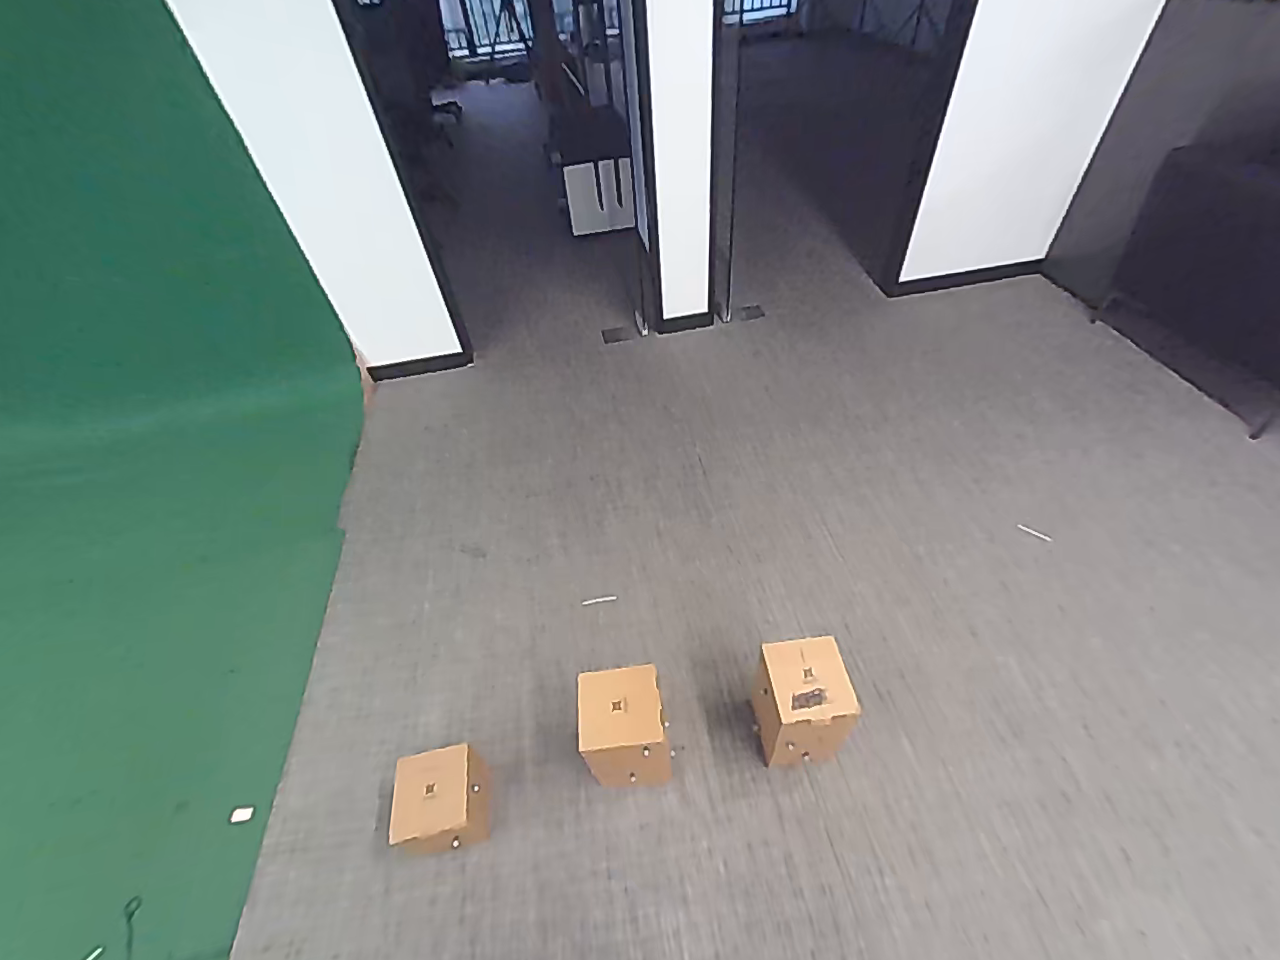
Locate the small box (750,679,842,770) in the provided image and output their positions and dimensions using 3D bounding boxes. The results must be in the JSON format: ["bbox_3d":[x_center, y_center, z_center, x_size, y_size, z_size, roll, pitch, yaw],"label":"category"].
[{"bbox_3d":[0.375,0.596,1.332,0.168,0.176,0.179,-8,47,-2],"label":"small box"}]

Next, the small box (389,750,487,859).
[{"bbox_3d":[-0.463,0.763,1.265,0.168,0.176,0.179,-10,46,-5],"label":"small box"}]

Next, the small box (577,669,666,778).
[{"bbox_3d":[-0.040,0.544,1.201,0.179,0.176,0.168,-7,46,-1],"label":"small box"}]

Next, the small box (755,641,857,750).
[{"bbox_3d":[0.361,0.486,1.209,0.168,0.176,0.179,-7,45,-1],"label":"small box"}]
